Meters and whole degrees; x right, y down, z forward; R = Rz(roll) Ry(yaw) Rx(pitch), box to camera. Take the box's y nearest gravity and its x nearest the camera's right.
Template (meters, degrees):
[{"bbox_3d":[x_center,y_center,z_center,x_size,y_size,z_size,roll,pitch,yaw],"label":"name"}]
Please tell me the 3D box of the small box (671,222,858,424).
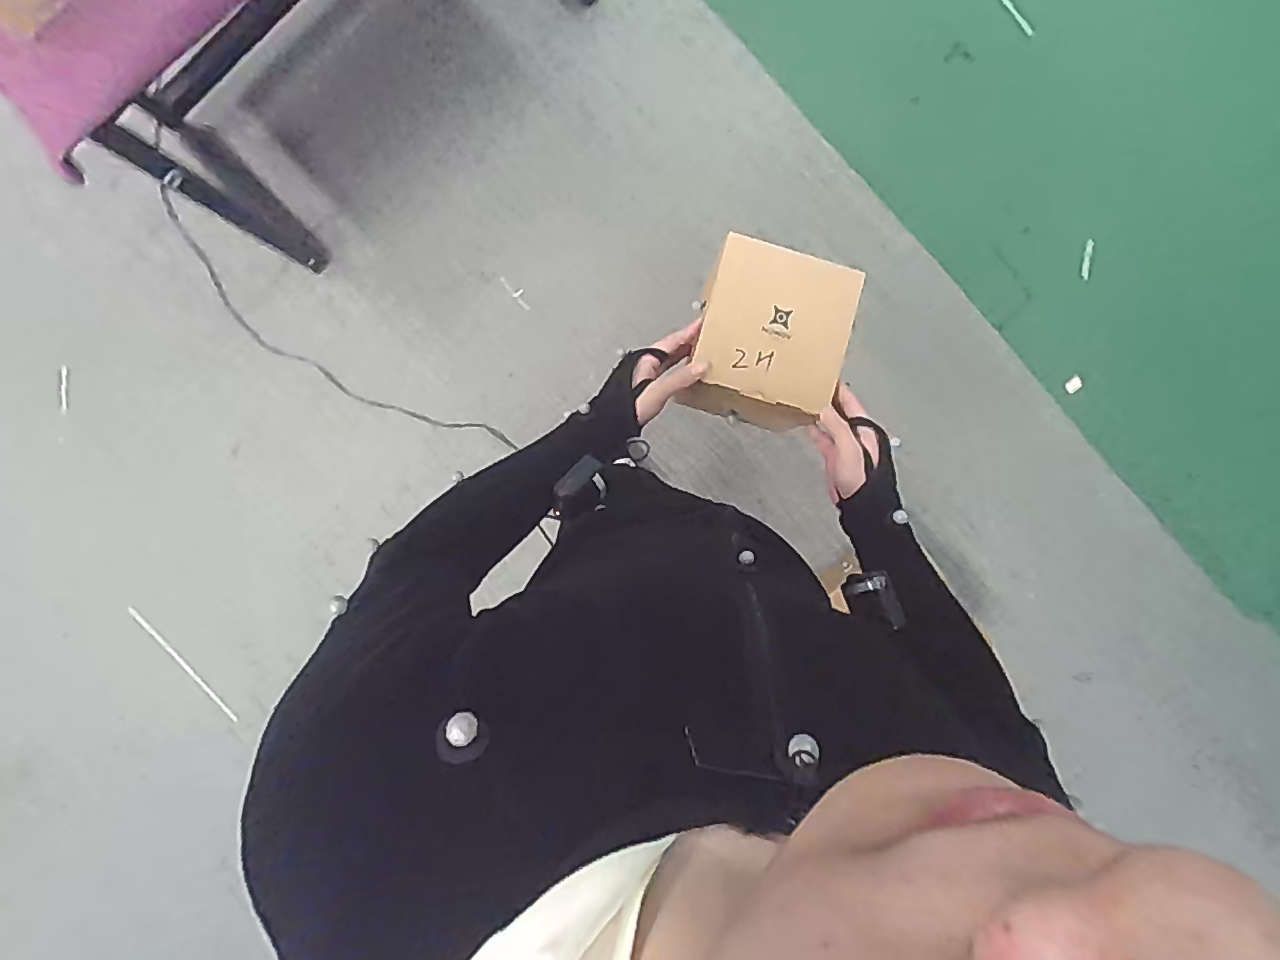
[{"bbox_3d":[0.141,-0.180,0.676,0.168,0.176,0.179,15,88,-2],"label":"small box"}]
